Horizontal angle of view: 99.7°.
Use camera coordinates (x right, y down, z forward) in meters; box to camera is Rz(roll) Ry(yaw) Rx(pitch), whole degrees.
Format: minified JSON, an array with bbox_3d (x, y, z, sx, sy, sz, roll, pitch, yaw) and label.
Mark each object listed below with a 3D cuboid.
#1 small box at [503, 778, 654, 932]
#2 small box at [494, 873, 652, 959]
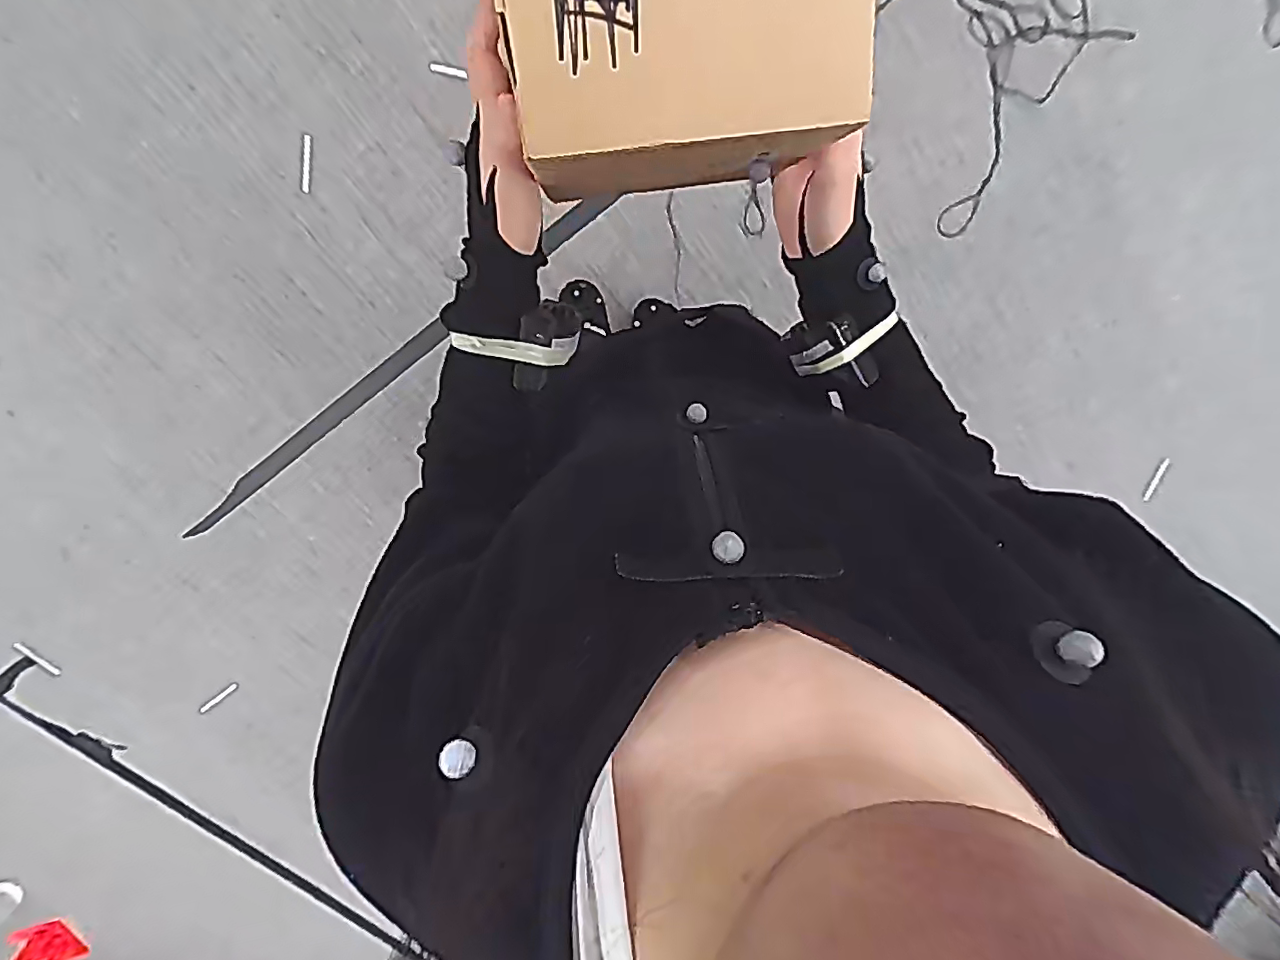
[{"bbox_3d":[-0.095,0.638,0.889,0.168,0.176,0.179,-34,108,7],"label":"small box"},{"bbox_3d":[-0.087,0.688,0.733,0.168,0.176,0.179,-32,109,6],"label":"small box"}]
